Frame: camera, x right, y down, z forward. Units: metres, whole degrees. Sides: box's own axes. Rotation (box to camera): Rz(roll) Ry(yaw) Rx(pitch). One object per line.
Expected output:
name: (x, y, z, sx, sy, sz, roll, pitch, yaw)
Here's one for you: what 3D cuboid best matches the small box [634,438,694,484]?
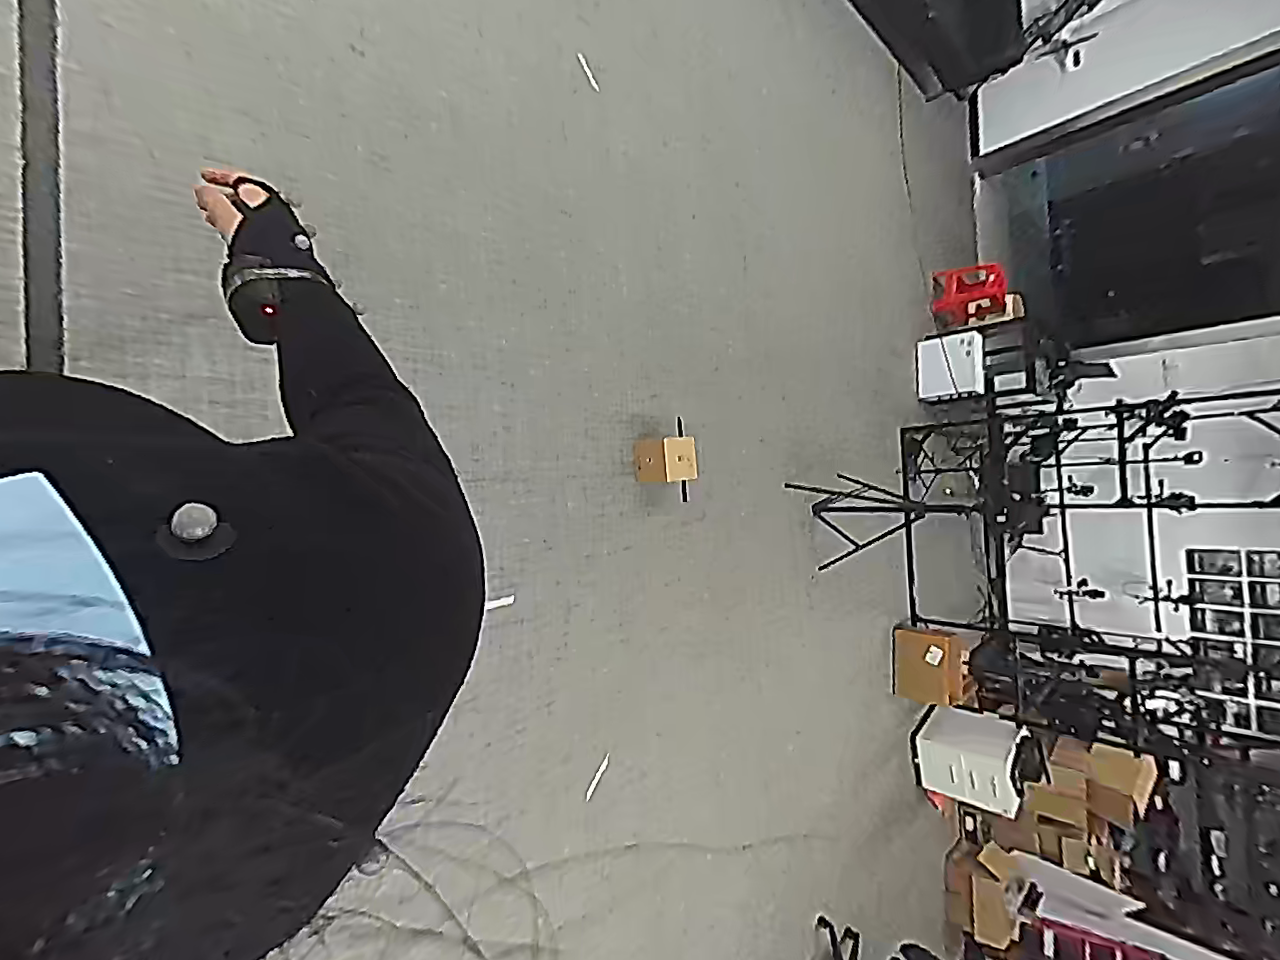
small box: (0.087, -0.073, 2.113, 0.179, 0.176, 0.168, -5, 92, -45)
